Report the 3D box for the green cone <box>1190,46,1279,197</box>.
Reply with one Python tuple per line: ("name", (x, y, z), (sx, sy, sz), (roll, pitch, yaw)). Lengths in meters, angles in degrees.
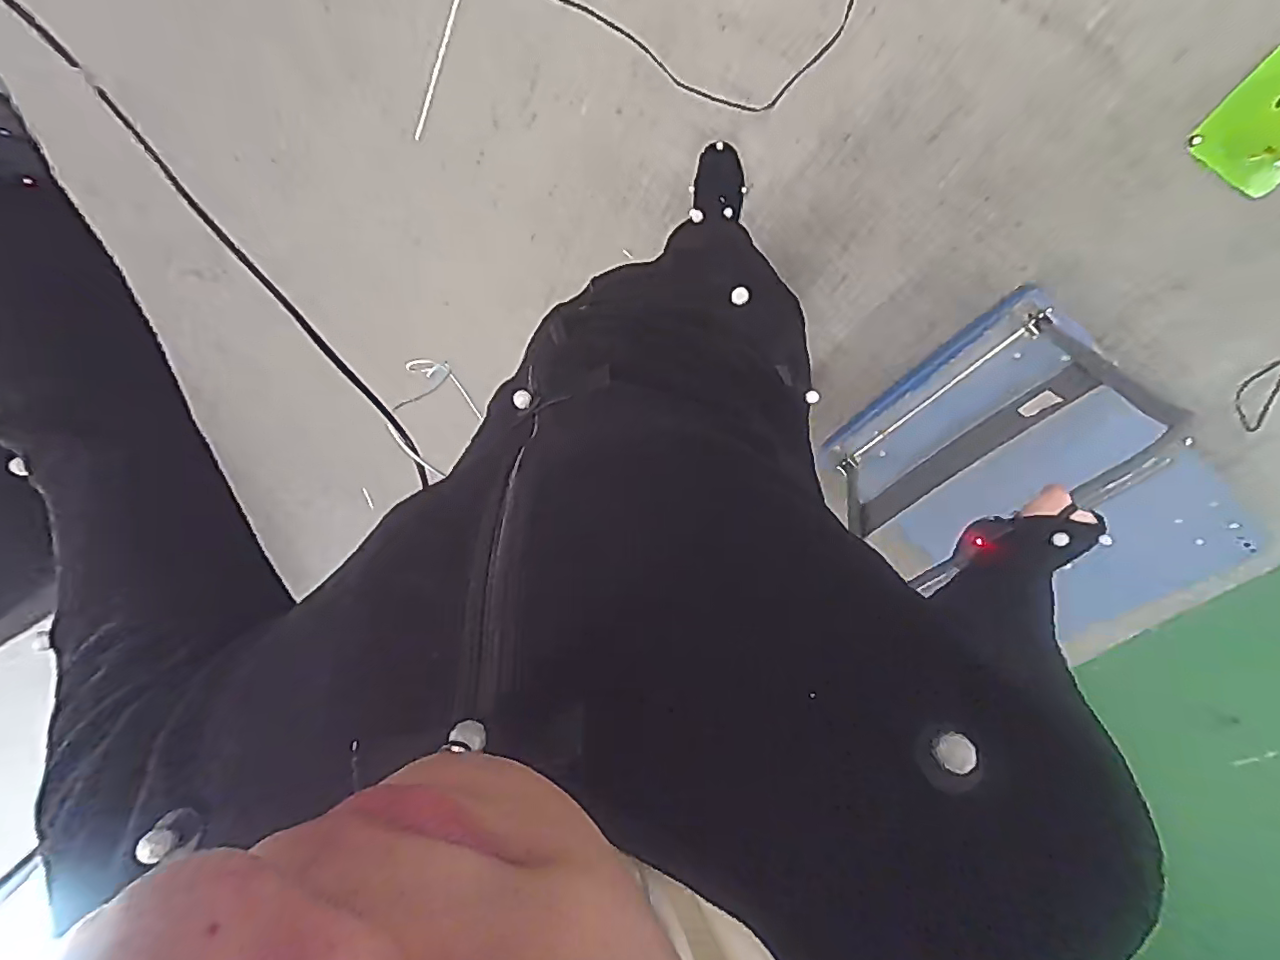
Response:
("green cone", (1.153, -0.589, 0.867), (0.200, 0.368, 0.202), (32, 122, -3))
